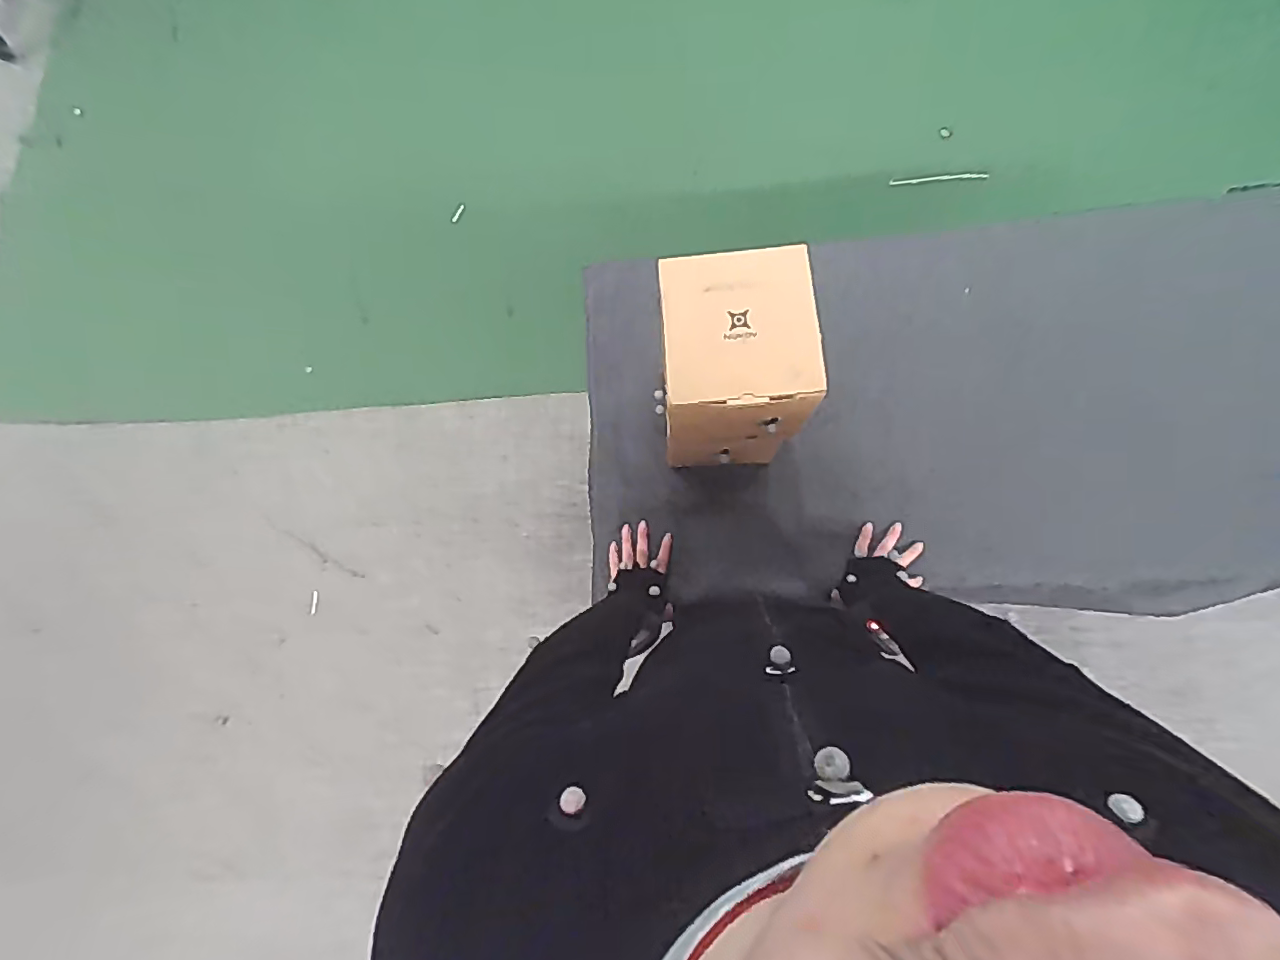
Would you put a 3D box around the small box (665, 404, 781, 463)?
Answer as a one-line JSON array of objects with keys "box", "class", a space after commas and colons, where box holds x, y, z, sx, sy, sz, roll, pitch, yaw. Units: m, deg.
[{"box": [0.122, -0.126, 0.810, 0.168, 0.176, 0.179, -3, 77, 4], "class": "small box"}]

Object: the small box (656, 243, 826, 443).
[{"box": [0.110, -0.149, 0.649, 0.168, 0.176, 0.179, -5, 76, 3], "class": "small box"}]
